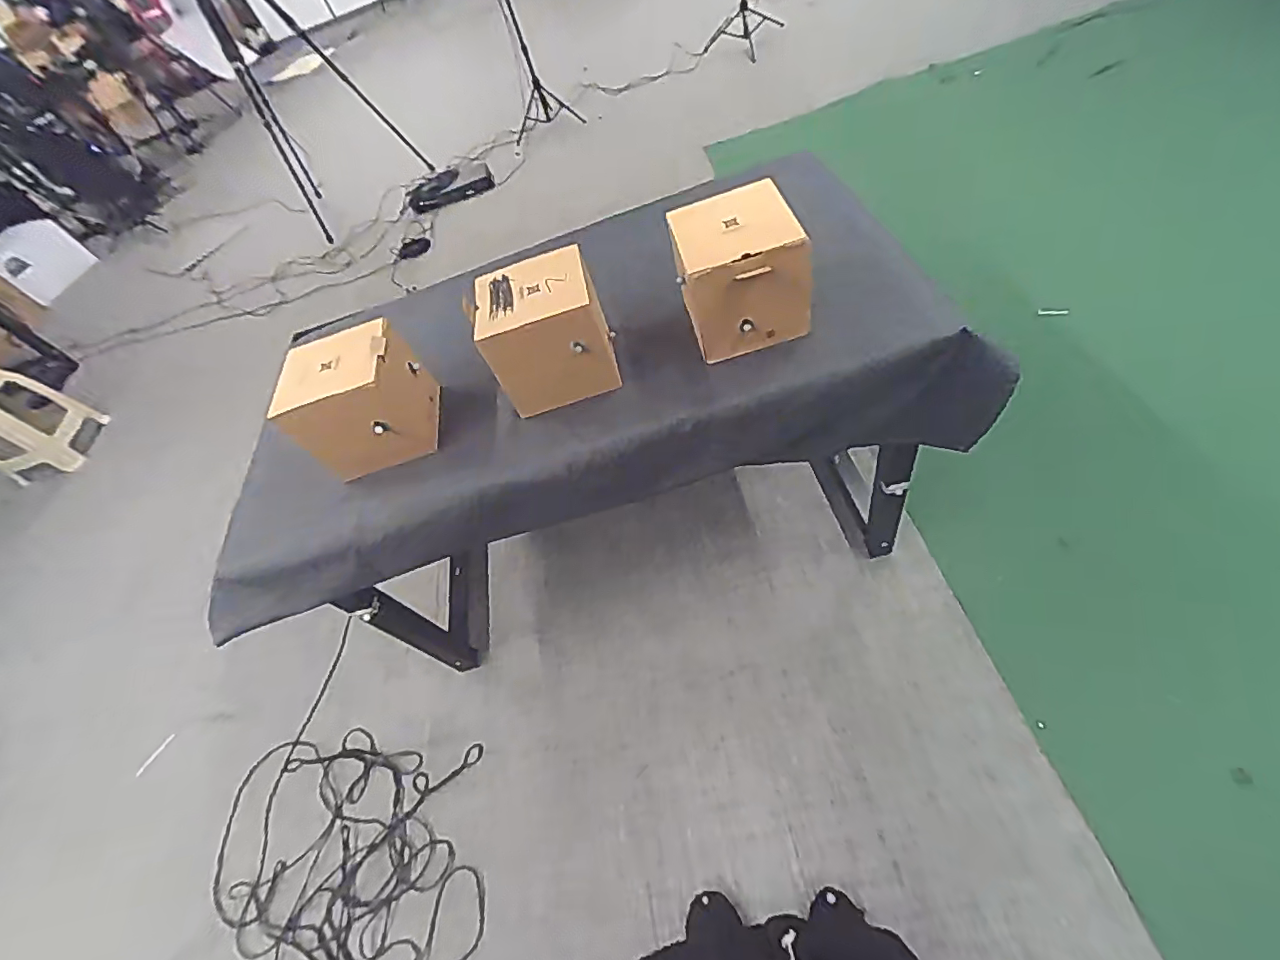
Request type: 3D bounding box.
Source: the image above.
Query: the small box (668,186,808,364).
[{"bbox_3d":[0.150,-0.312,0.838,0.168,0.176,0.179,-16,53,6],"label":"small box"}]

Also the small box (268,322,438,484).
[{"bbox_3d":[-0.452,-0.121,0.886,0.179,0.176,0.168,-19,51,5],"label":"small box"}]
